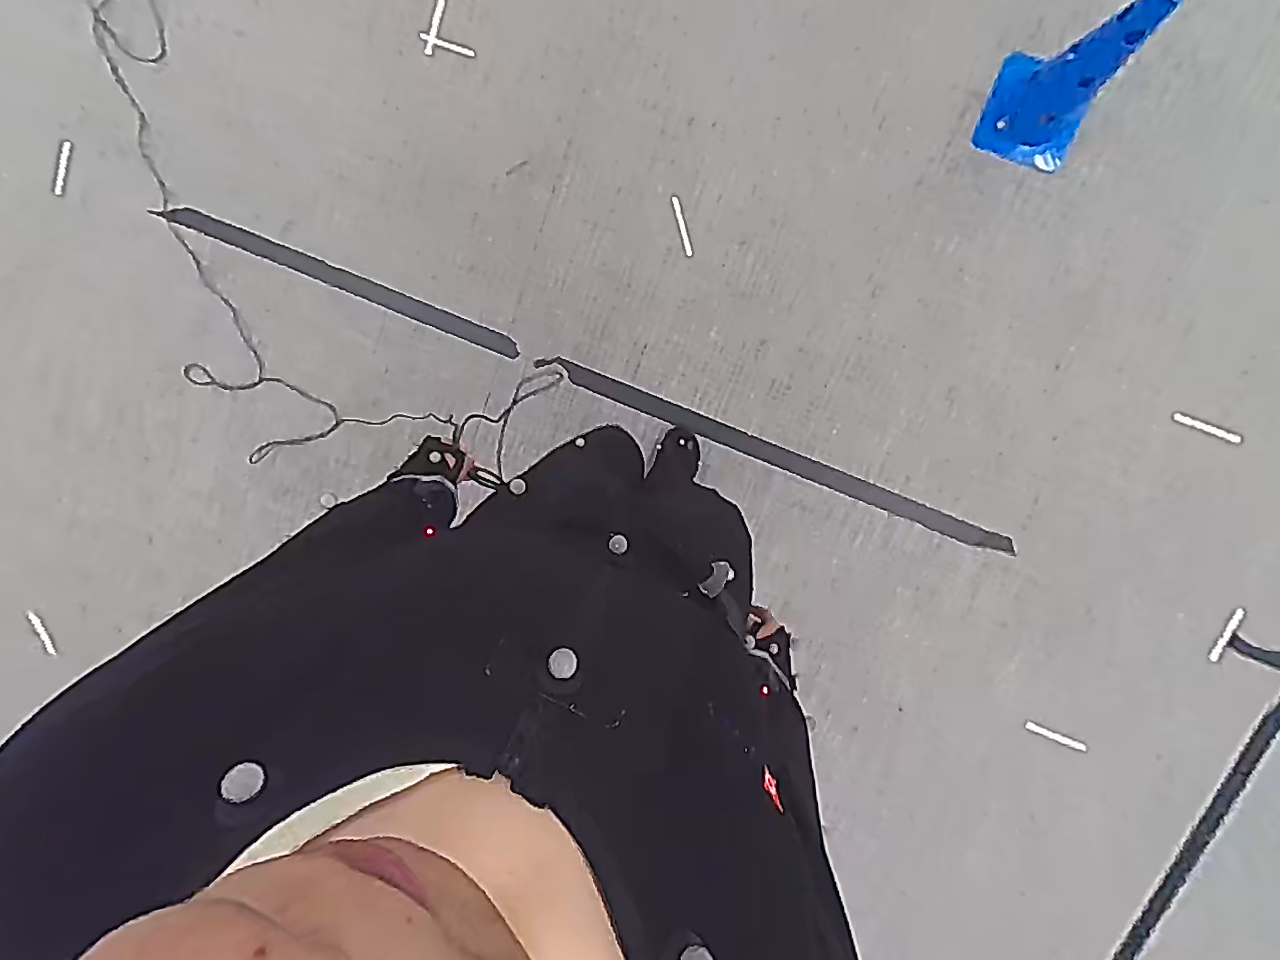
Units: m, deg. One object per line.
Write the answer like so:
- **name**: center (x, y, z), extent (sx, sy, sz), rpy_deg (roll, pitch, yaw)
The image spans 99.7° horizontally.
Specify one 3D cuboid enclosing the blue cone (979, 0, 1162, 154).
- **blue cone**: center (0.821, -0.786, 0.985), extent (0.193, 0.380, 0.192), rpy_deg (22, 98, 3)
